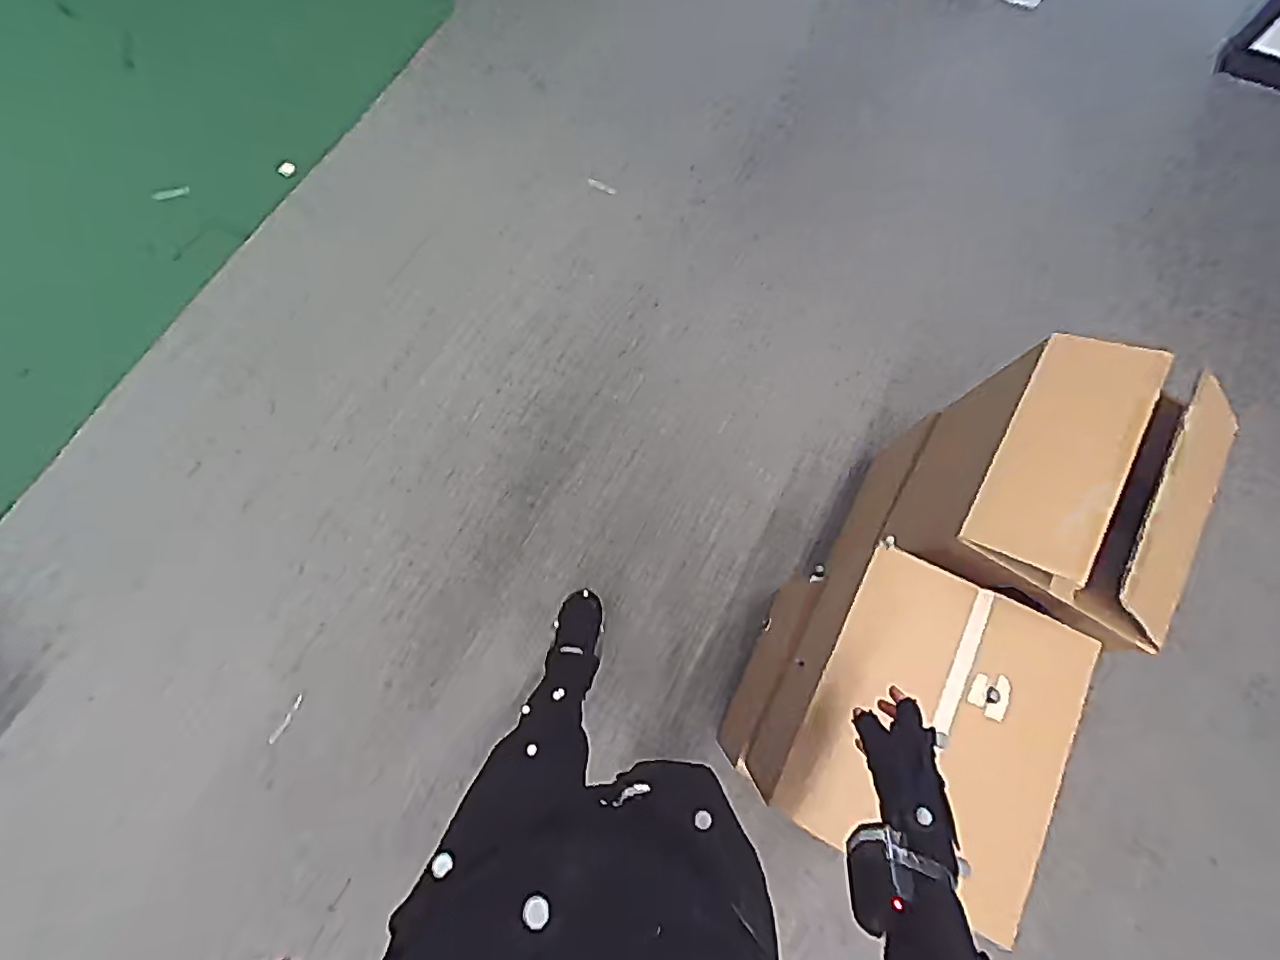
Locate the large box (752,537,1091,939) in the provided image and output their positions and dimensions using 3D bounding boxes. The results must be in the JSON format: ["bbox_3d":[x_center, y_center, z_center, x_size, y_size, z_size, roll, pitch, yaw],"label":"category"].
[{"bbox_3d":[0.406,0.364,0.857,0.320,0.320,0.408,26,75,13],"label":"large box"}]
